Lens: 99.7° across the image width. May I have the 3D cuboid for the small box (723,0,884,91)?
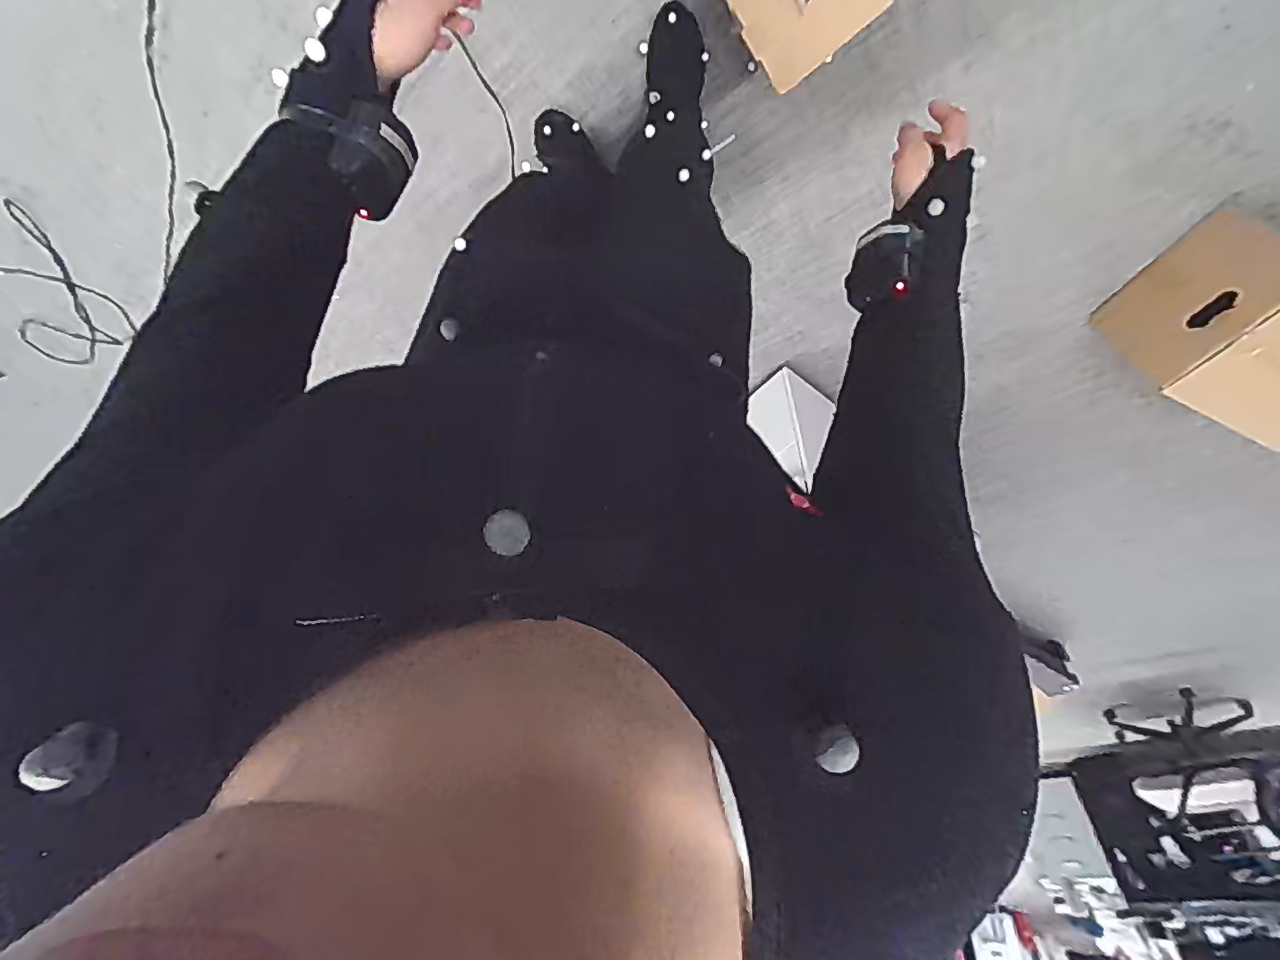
[{"bbox_3d":[0.221,-0.718,0.781,0.179,0.176,0.168,-29,129,29],"label":"small box"}]
